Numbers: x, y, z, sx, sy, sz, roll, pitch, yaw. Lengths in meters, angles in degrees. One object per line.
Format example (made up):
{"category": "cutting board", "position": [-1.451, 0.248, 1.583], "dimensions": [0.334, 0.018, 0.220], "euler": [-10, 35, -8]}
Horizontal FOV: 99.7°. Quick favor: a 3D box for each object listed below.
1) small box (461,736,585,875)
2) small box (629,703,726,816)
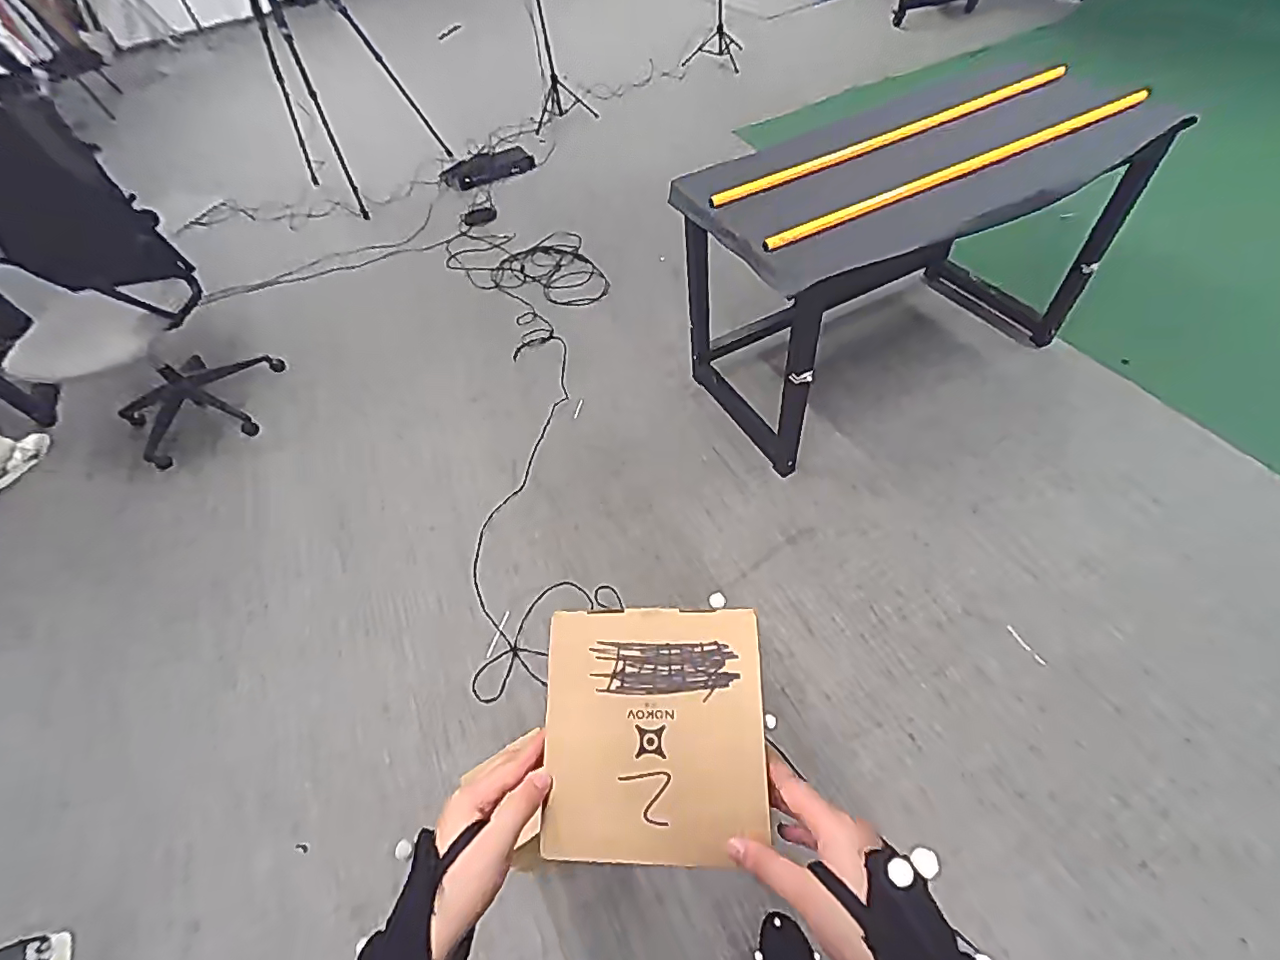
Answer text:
{"category": "small box", "position": [-0.223, 0.646, 1.076], "dimensions": [0.179, 0.176, 0.168], "euler": [-29, 55, -13]}
{"category": "small box", "position": [0.087, 0.647, 1.239], "dimensions": [0.168, 0.176, 0.179], "euler": [-20, 53, -8]}
